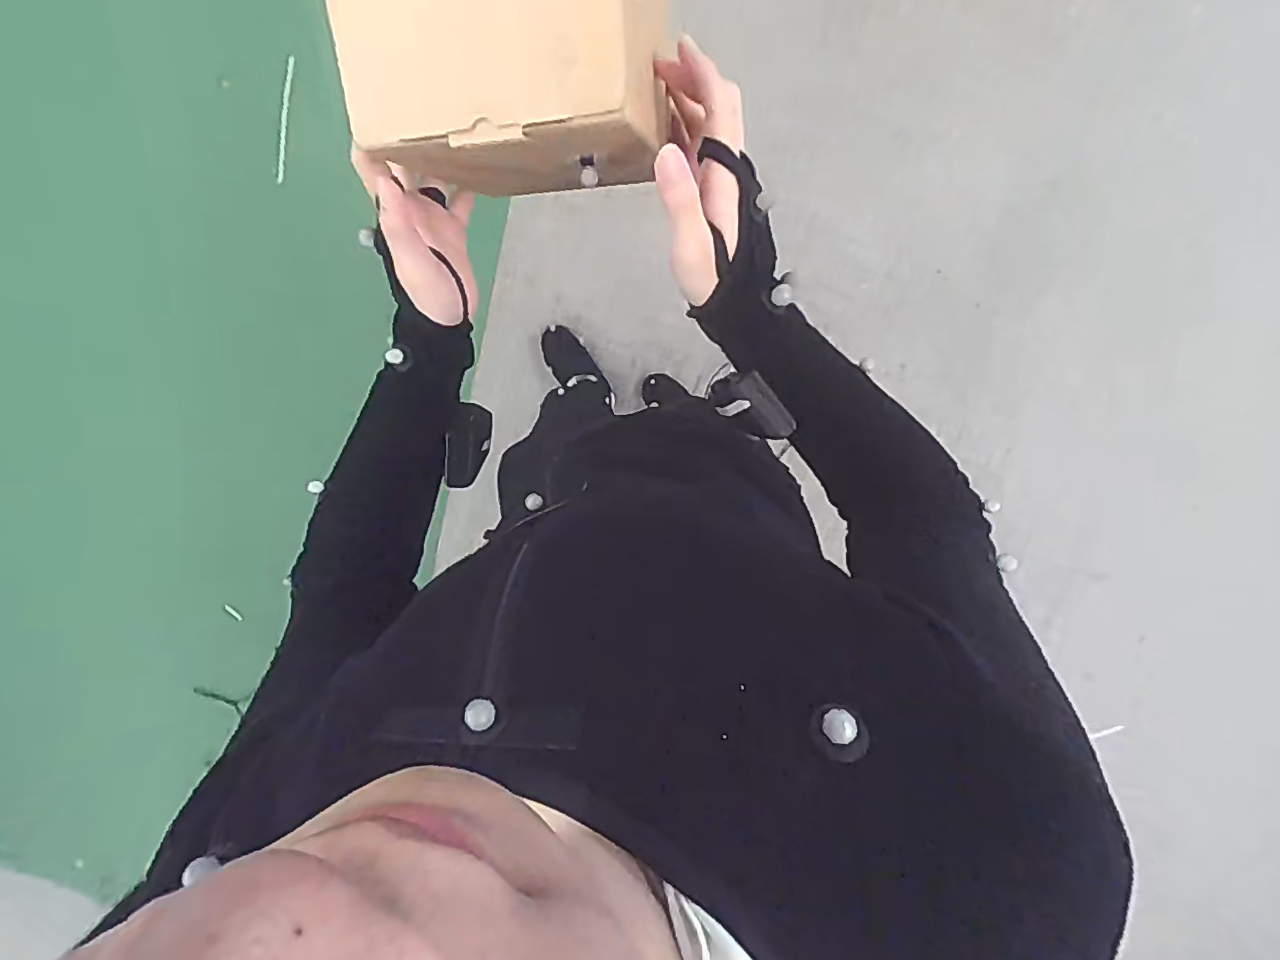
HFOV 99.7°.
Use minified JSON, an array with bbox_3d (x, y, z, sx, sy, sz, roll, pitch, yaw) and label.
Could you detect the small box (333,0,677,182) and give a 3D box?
[{"bbox_3d":[-0.070,-0.302,0.345,0.168,0.176,0.179,2,107,13],"label":"small box"}]
